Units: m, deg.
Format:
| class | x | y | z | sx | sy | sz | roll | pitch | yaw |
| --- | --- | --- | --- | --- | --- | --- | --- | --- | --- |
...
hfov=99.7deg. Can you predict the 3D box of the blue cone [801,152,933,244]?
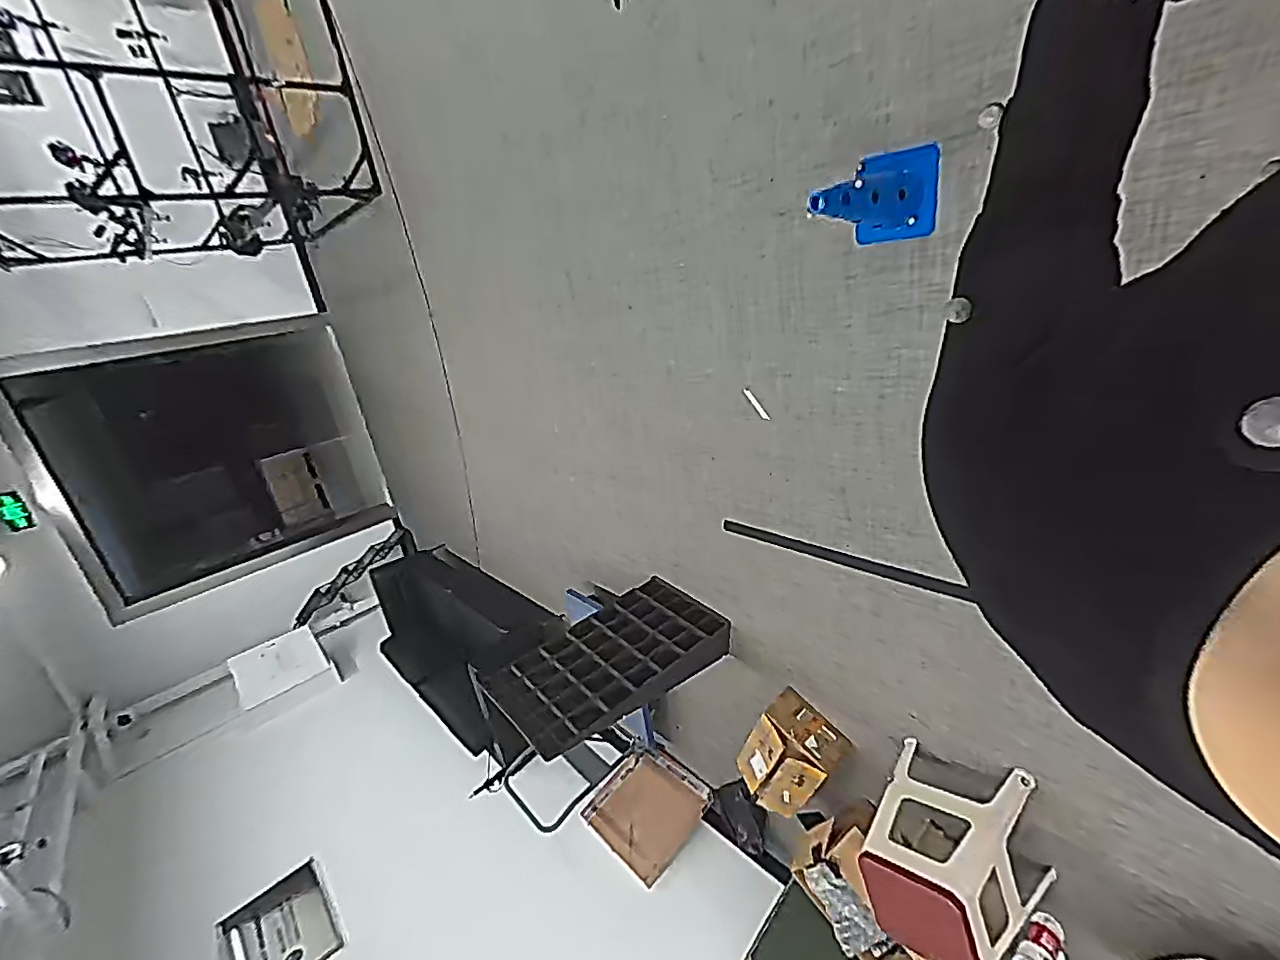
| class | x | y | z | sx | sy | sz | roll | pitch | yaw |
| --- | --- | --- | --- | --- | --- | --- | --- | --- | --- |
| blue cone | 0.505 | -0.644 | 1.253 | 0.192 | 0.380 | 0.193 | 19 | 124 | 46 |
